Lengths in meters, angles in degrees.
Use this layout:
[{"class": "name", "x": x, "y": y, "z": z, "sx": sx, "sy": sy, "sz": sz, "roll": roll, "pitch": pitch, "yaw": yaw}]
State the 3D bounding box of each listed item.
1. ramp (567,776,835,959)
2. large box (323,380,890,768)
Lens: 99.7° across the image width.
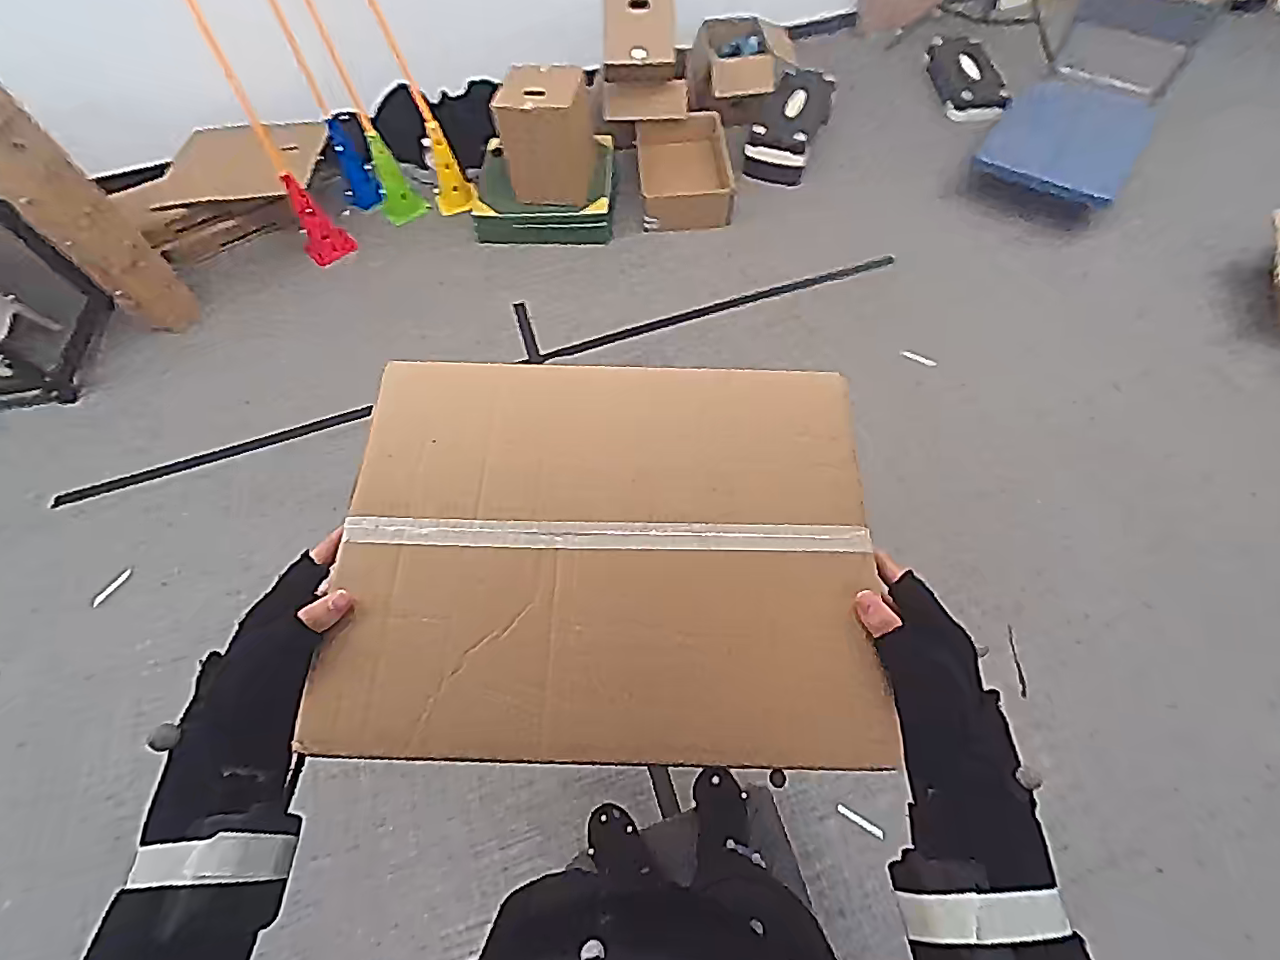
[{"class": "ramp", "x": 0.227, "y": 1.204, "z": 1.086, "sx": 0.509, "sy": 0.206, "sz": 0.991, "roll": -19, "pitch": 62, "yaw": -9}, {"class": "large box", "x": -0.020, "y": 0.109, "z": 0.568, "sx": 0.408, "sy": 0.320, "sz": 0.320, "roll": 2, "pitch": 66, "yaw": 1}]
